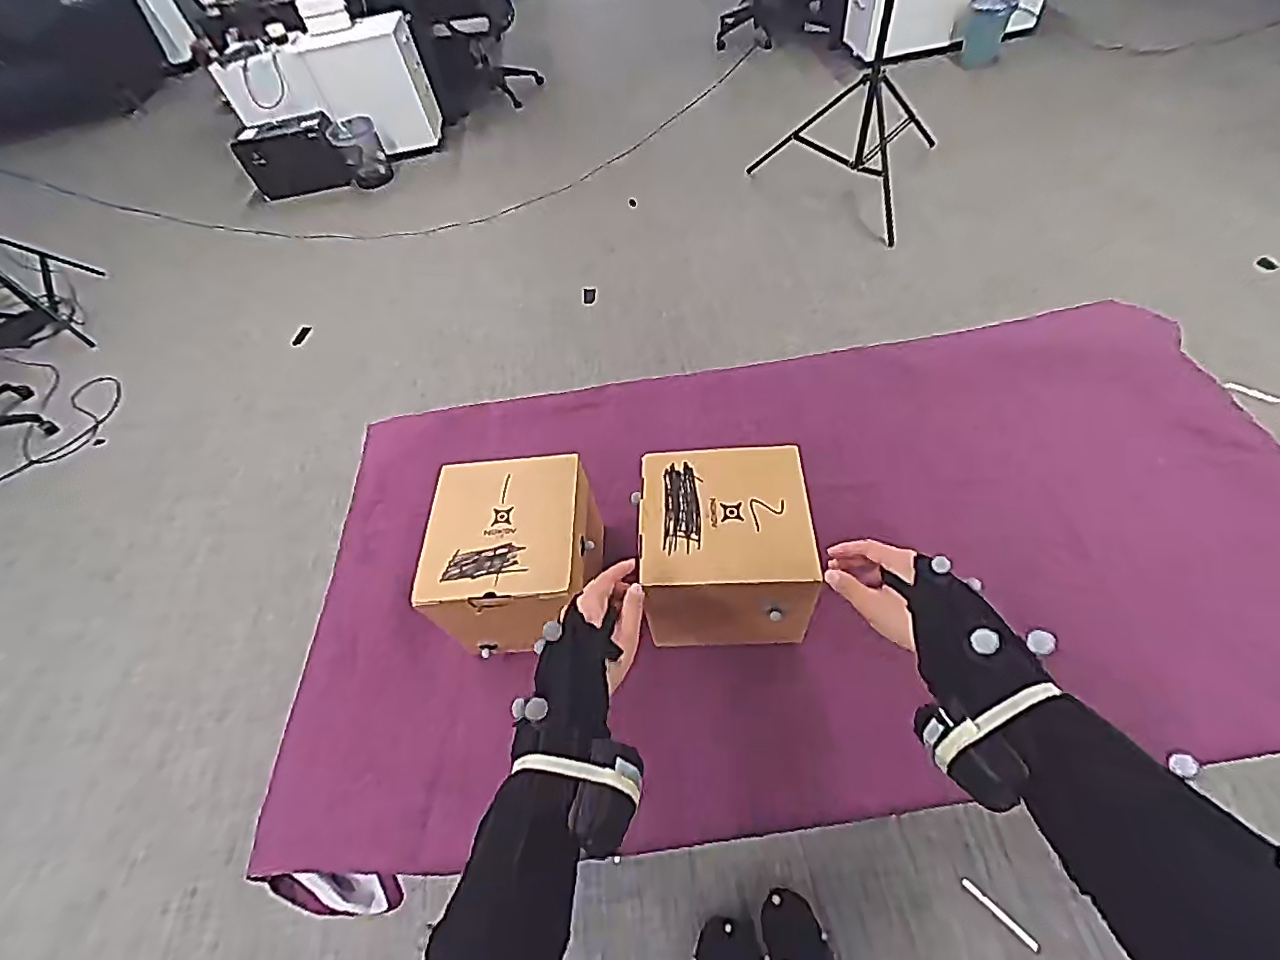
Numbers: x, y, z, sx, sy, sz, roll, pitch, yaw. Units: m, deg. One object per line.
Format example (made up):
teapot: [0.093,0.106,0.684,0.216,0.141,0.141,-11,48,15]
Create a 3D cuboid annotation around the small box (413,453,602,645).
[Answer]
small box: [-0.142,0.092,0.652,0.168,0.176,0.179,-5,54,5]
